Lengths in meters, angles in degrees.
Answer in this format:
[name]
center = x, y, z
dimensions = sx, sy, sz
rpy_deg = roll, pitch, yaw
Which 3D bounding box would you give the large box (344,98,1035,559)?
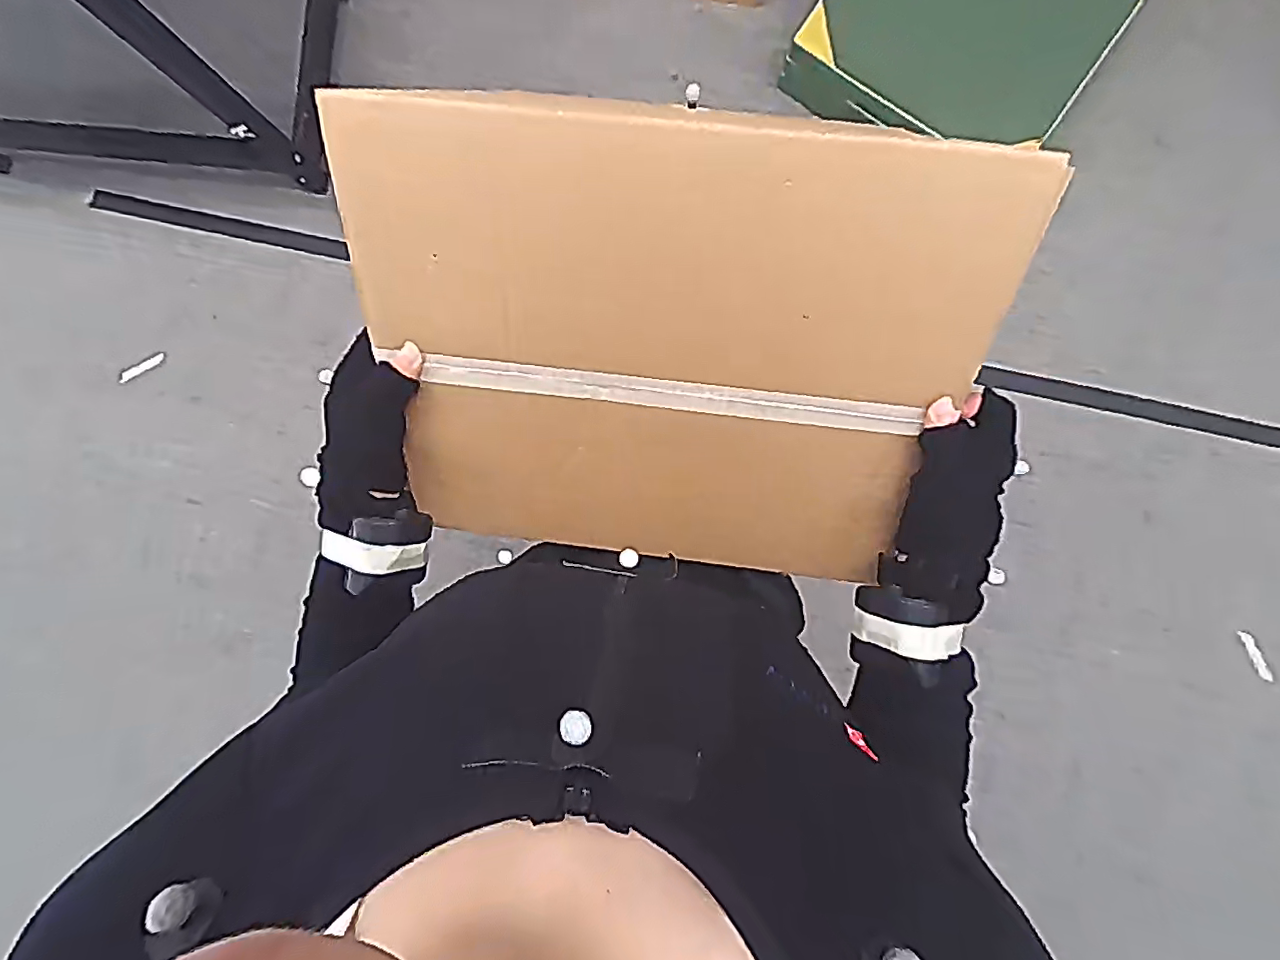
[large box]
center = 0.031, -0.159, 0.511
dimensions = 0.408, 0.320, 0.320
rpy_deg = 7, 126, 3
